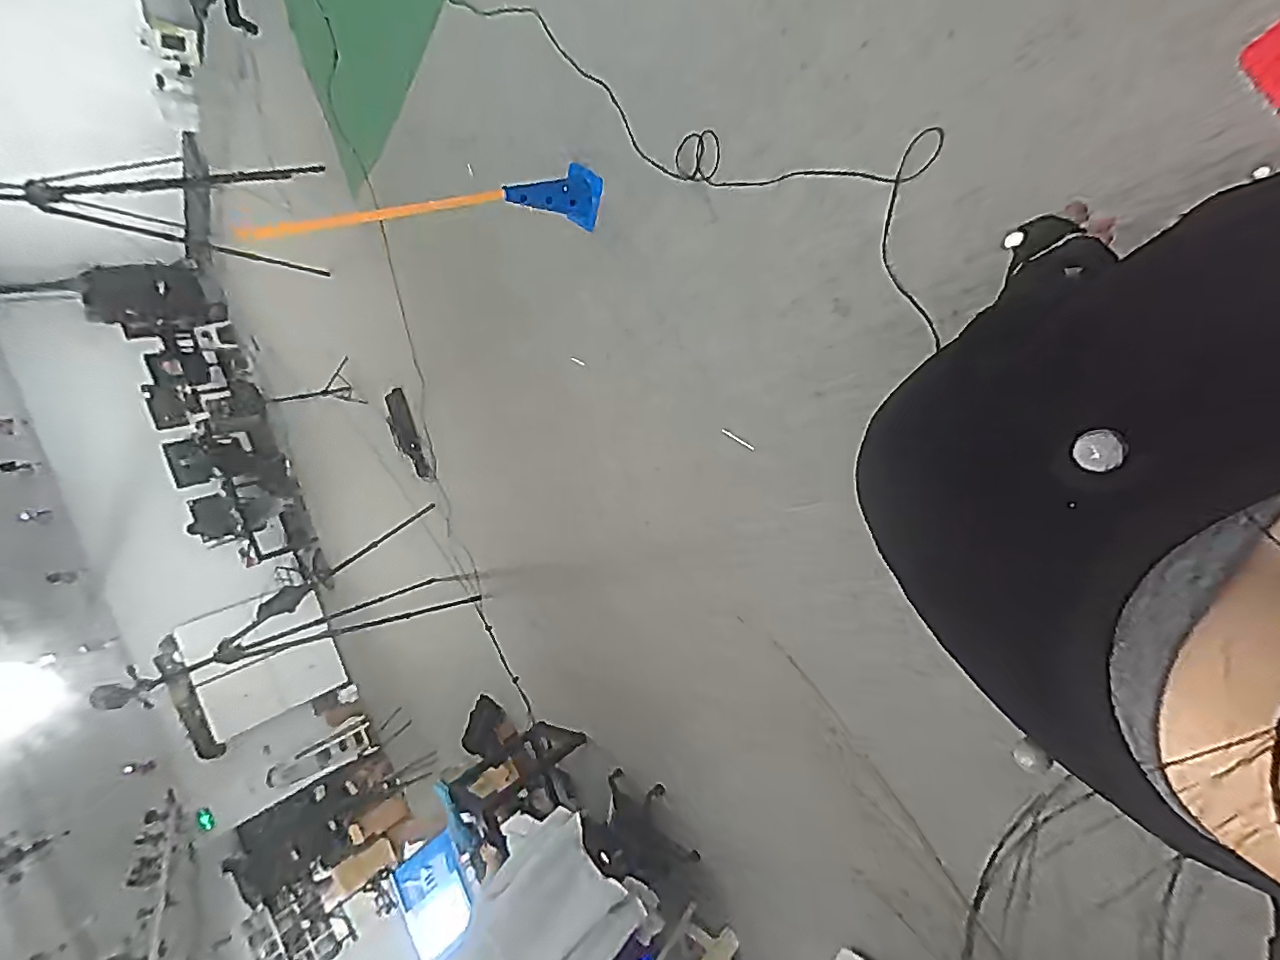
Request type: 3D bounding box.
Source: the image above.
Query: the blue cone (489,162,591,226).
[{"bbox_3d":[-0.372,-1.040,1.963,0.192,0.380,0.193,41,134,26],"label":"blue cone"}]
